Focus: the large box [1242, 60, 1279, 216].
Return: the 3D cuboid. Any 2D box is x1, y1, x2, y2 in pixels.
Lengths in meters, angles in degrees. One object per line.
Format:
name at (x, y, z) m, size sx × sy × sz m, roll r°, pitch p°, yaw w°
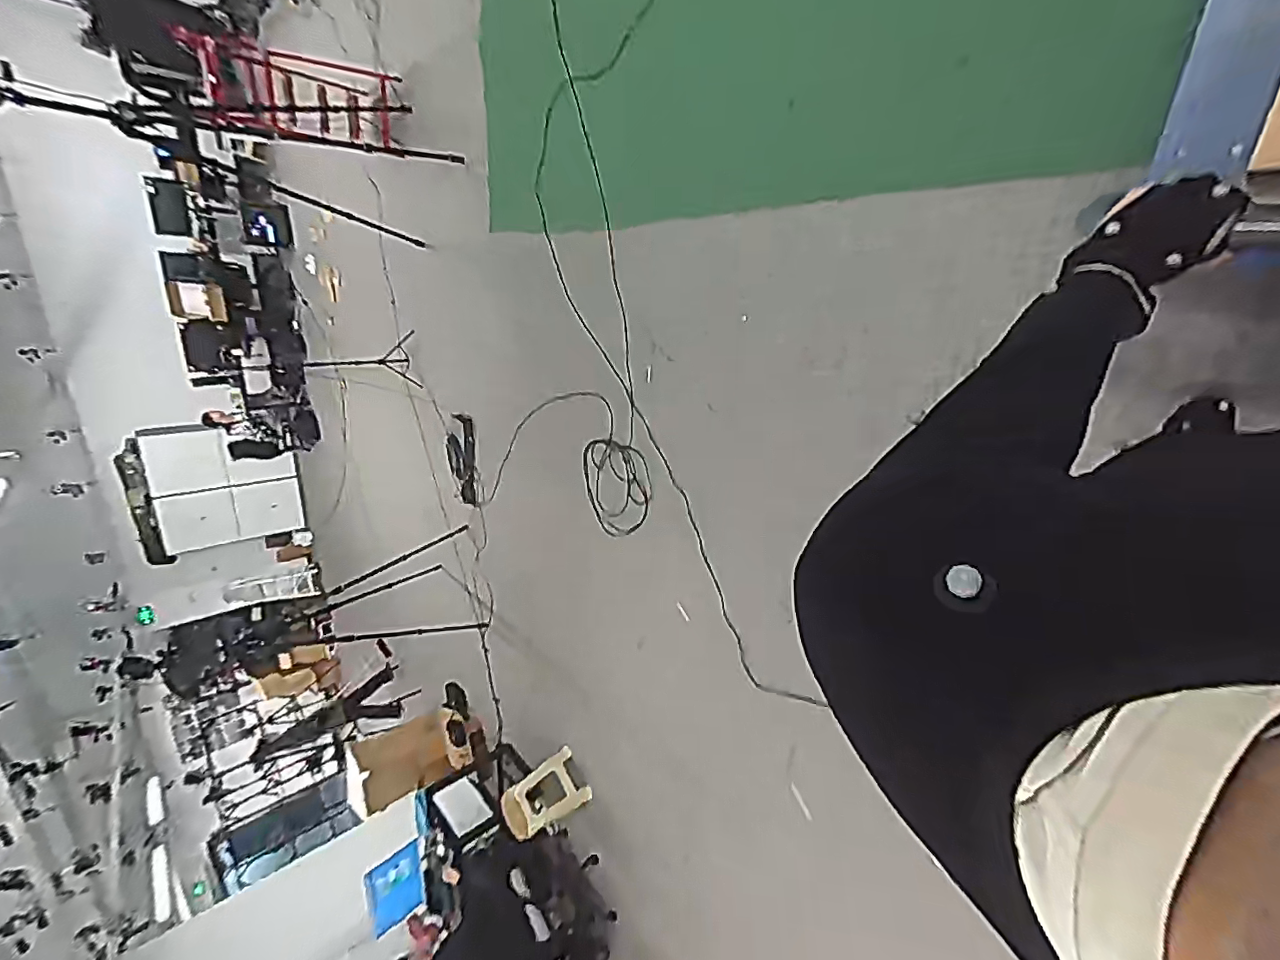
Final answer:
large box at (1.059, -0.586, 0.684) m, size 0.320 × 0.320 × 0.408 m, roll 23°, pitch 115°, yaw 42°
